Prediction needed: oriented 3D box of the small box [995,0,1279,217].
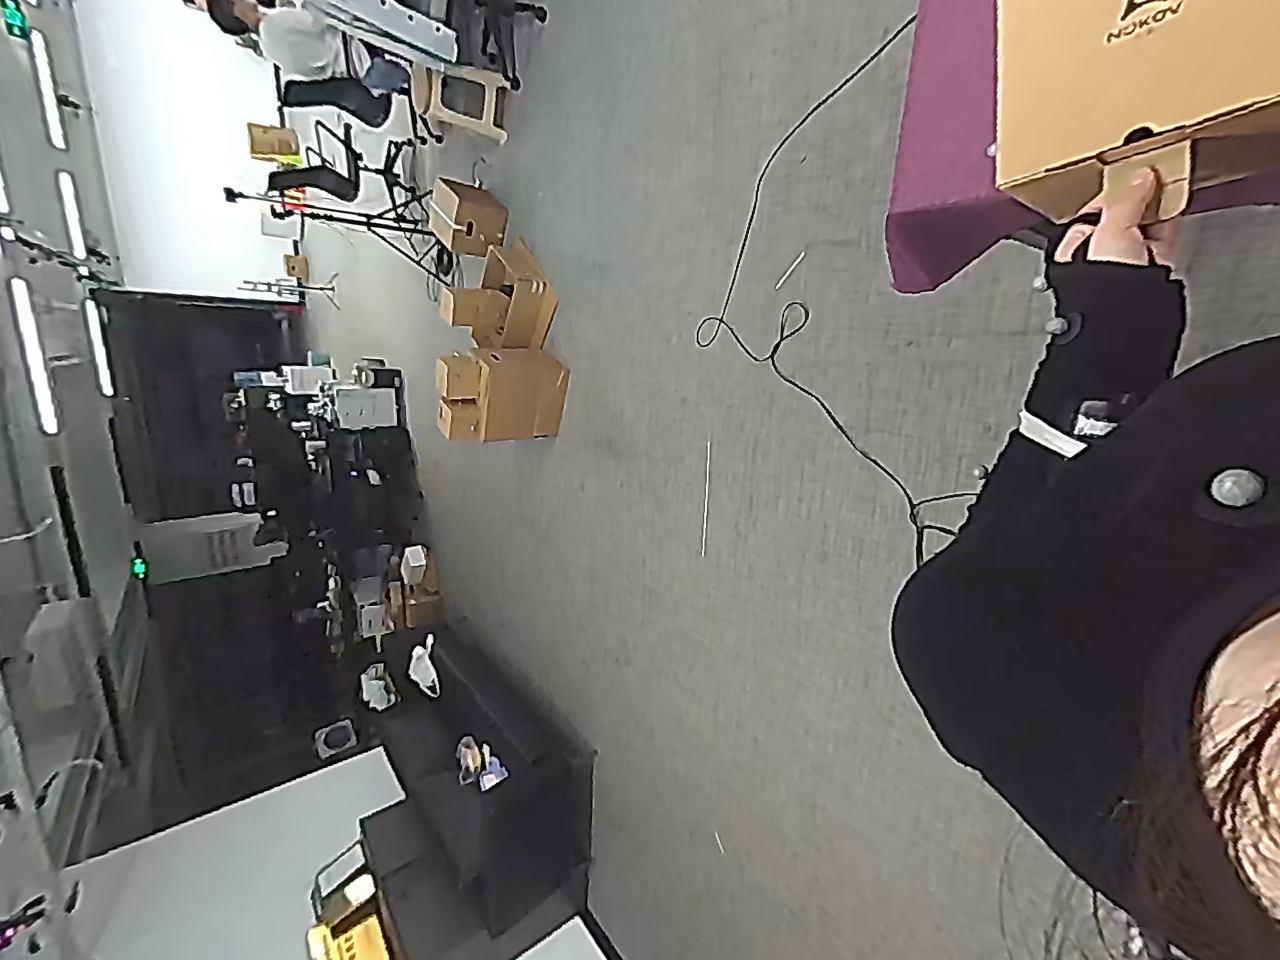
[{"bbox_3d":[0.395,-0.328,0.415,0.168,0.176,0.179,4,102,50],"label":"small box"}]
